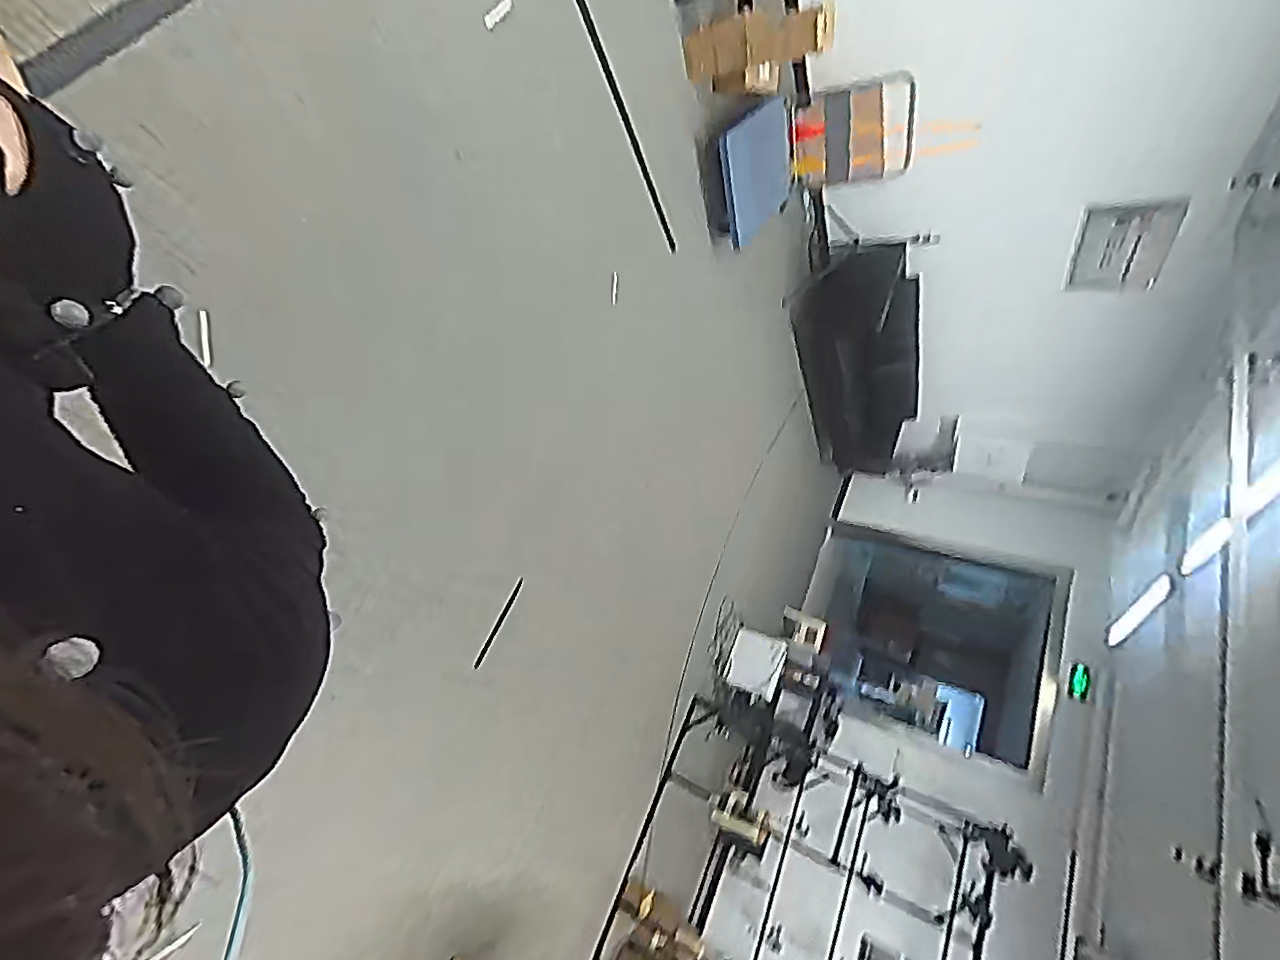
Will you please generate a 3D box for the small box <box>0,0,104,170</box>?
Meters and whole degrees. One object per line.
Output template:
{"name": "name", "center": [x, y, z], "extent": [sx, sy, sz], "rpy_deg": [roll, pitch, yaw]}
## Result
{"name": "small box", "center": [-0.399, -0.256, 0.235], "extent": [0.168, 0.176, 0.179], "rpy_deg": [-33, 117, -78]}
